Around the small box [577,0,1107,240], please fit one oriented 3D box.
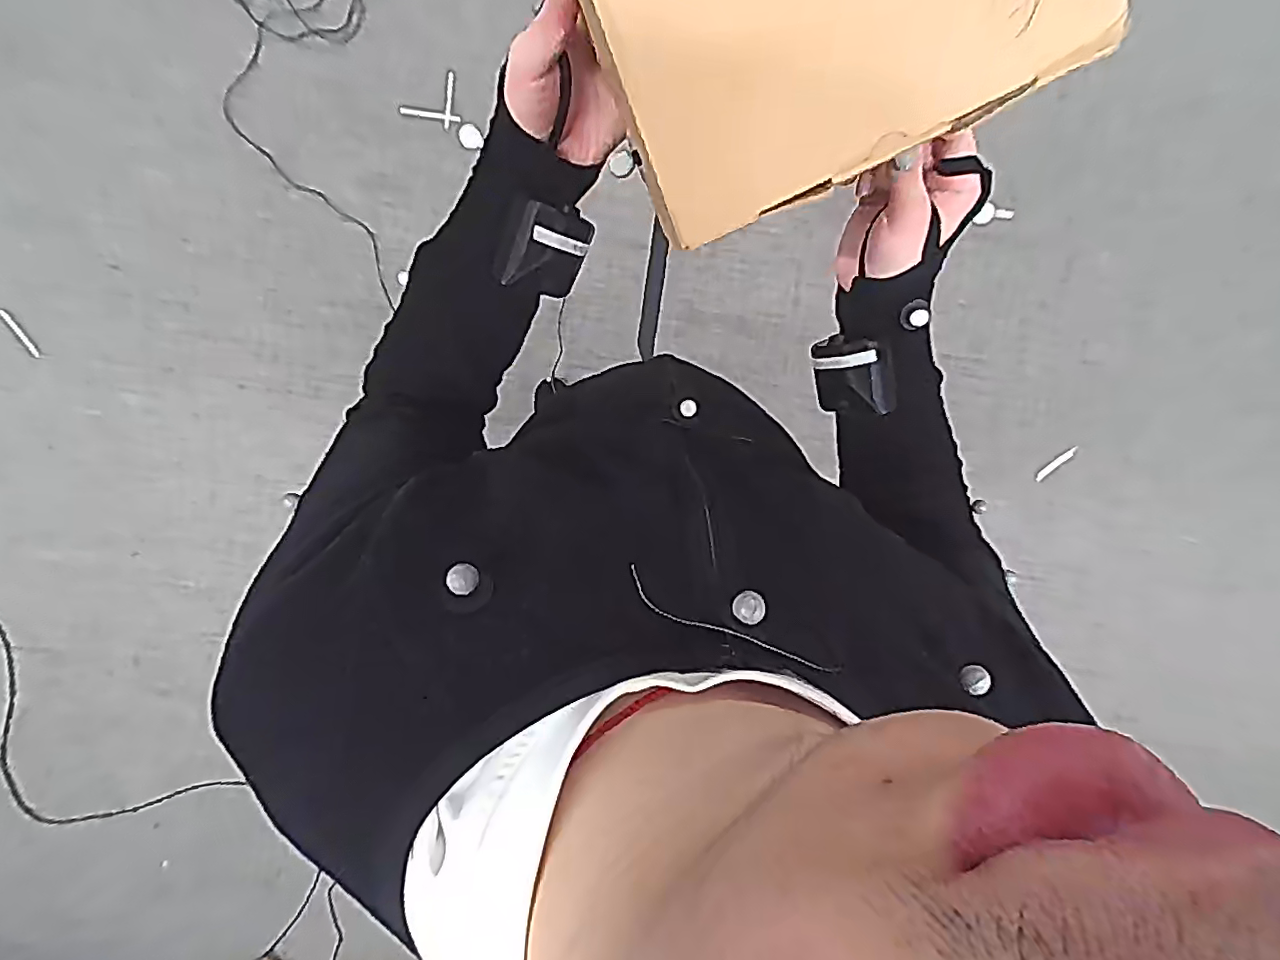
[{"bbox_3d":[0.059,-0.233,0.246,0.168,0.176,0.179,-23,114,9],"label":"small box"}]
